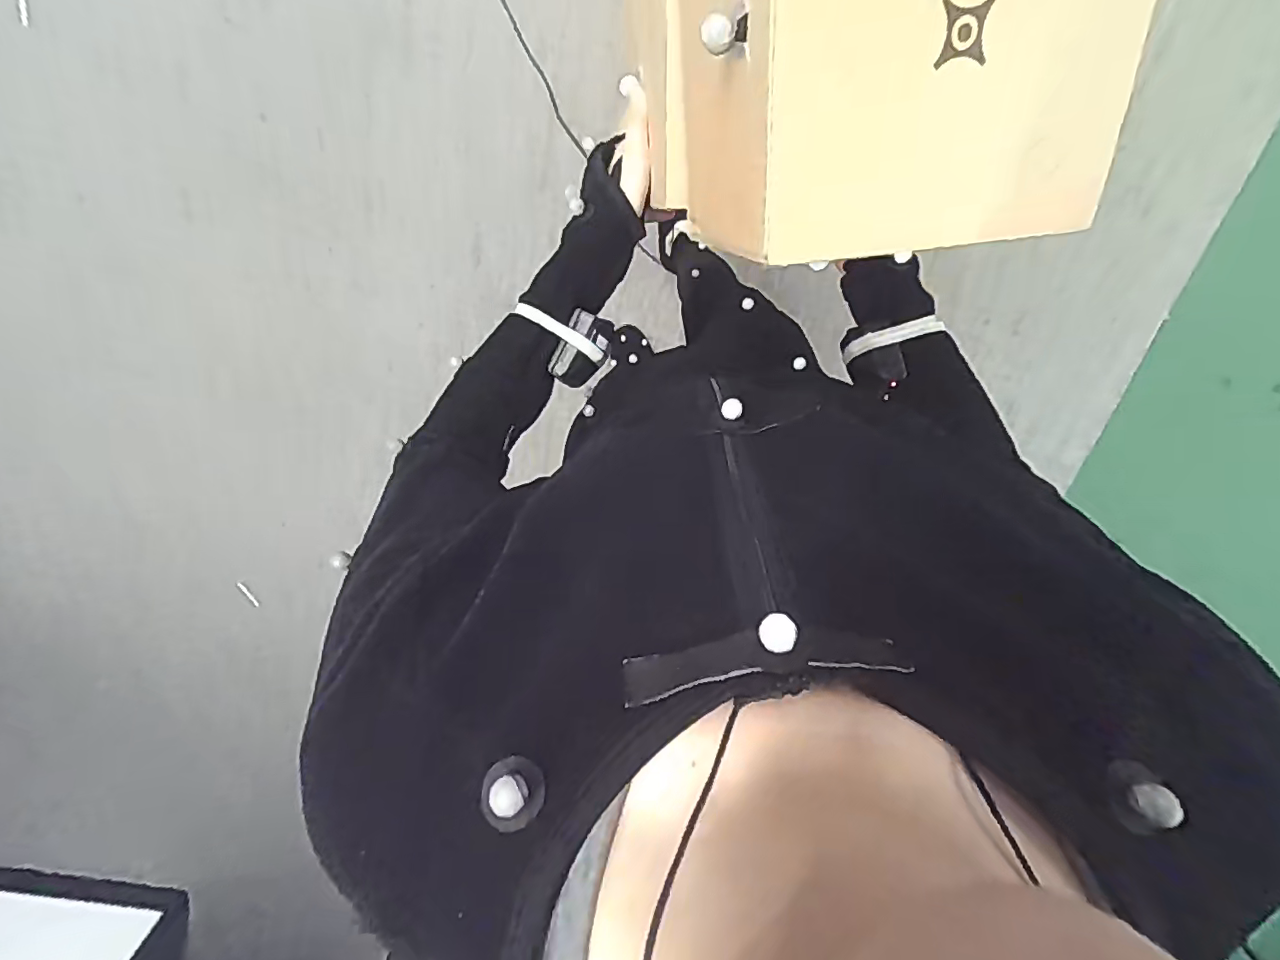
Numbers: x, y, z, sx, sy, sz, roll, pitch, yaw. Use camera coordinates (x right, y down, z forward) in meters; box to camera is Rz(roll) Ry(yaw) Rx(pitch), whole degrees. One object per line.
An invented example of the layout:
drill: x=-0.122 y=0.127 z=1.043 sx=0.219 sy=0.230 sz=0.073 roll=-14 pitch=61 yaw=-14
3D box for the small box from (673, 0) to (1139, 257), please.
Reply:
small box: x=0.113 y=-0.226 z=0.287 sx=0.168 sy=0.176 sz=0.179 roll=-8 pitch=117 yaw=-4

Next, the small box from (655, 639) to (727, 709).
small box: x=0.145 y=0.616 z=1.634 sx=0.168 sy=0.176 sz=0.179 roll=15 pitch=109 yaw=-8

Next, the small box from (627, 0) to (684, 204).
small box: x=0.087 y=-0.311 z=0.424 sx=0.179 sy=0.176 sz=0.168 roll=-4 pitch=117 yaw=-6

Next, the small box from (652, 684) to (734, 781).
small box: x=0.137 y=0.688 z=1.486 sx=0.179 sy=0.176 sz=0.168 roll=11 pitch=110 yaw=-7
